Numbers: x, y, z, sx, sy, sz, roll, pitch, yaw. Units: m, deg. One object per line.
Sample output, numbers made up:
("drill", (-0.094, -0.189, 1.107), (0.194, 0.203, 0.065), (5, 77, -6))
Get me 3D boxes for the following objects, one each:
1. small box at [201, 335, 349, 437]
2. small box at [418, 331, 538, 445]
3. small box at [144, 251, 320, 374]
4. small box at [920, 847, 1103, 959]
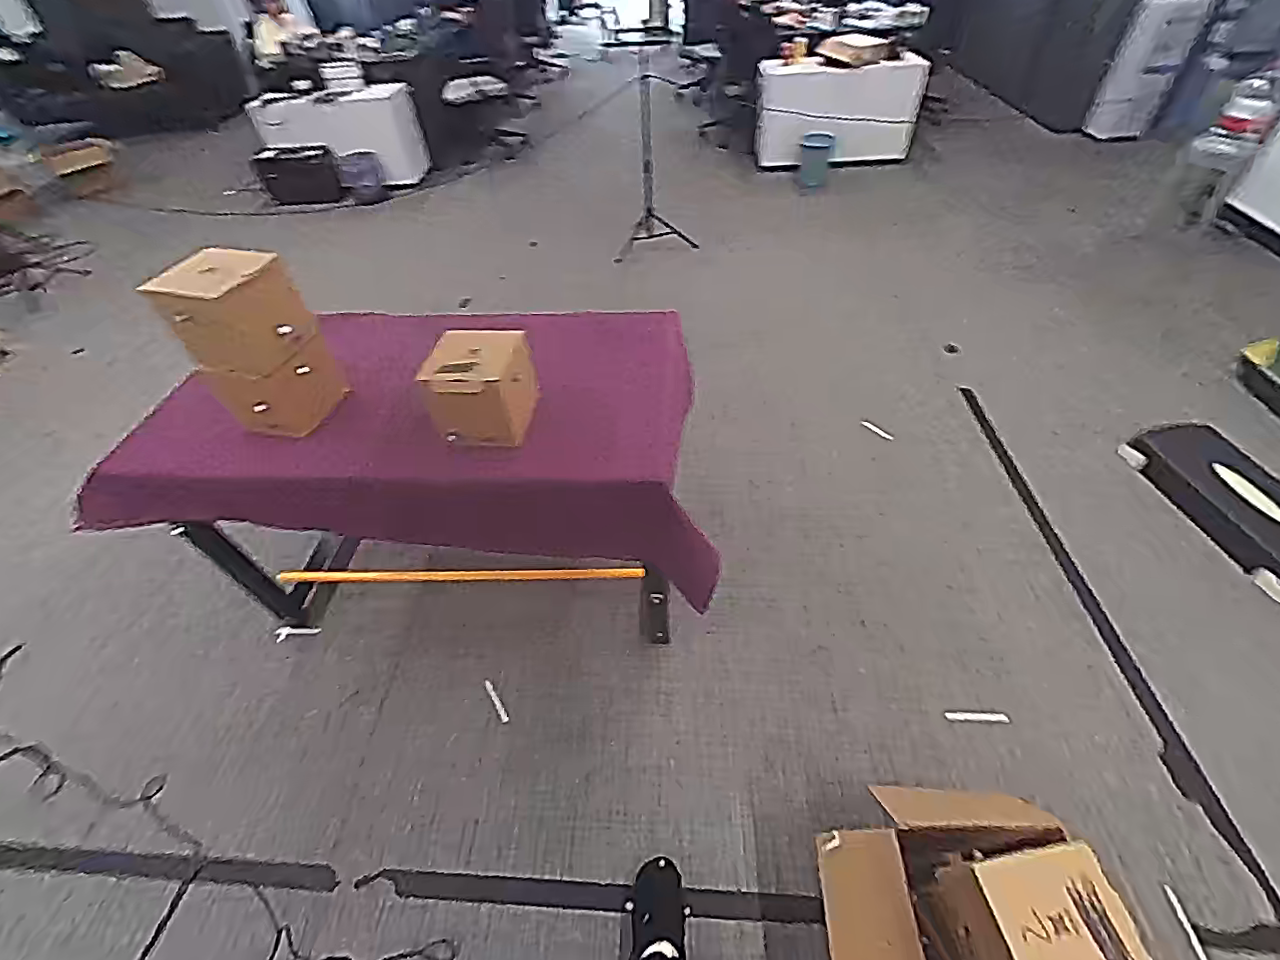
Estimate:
("small box", (-0.779, -0.215, 1.179), (0.168, 0.176, 0.179), (9, 49, 12))
("small box", (-0.320, -0.187, 1.114), (0.168, 0.176, 0.179), (2, 47, 7))
("small box", (-0.782, -0.326, 1.058), (0.179, 0.176, 0.168), (10, 50, 12))
("small box", (0.617, 0.760, 0.917), (0.168, 0.176, 0.179), (-18, 52, -8))
